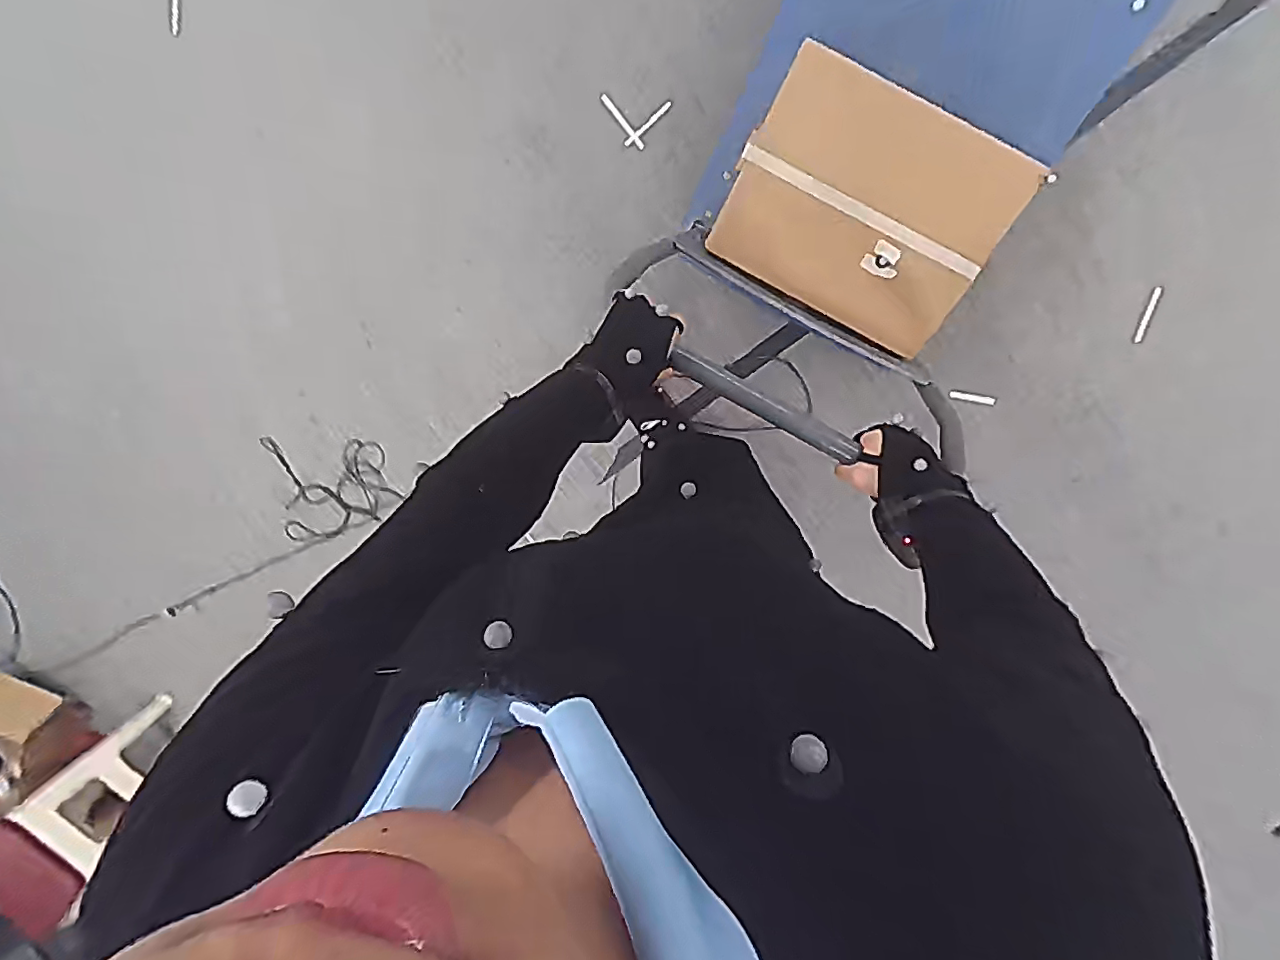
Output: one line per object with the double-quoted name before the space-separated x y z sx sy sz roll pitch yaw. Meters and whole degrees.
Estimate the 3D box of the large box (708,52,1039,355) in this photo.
"large box" 0.382 -0.484 0.995 0.408 0.320 0.320 28 118 0
